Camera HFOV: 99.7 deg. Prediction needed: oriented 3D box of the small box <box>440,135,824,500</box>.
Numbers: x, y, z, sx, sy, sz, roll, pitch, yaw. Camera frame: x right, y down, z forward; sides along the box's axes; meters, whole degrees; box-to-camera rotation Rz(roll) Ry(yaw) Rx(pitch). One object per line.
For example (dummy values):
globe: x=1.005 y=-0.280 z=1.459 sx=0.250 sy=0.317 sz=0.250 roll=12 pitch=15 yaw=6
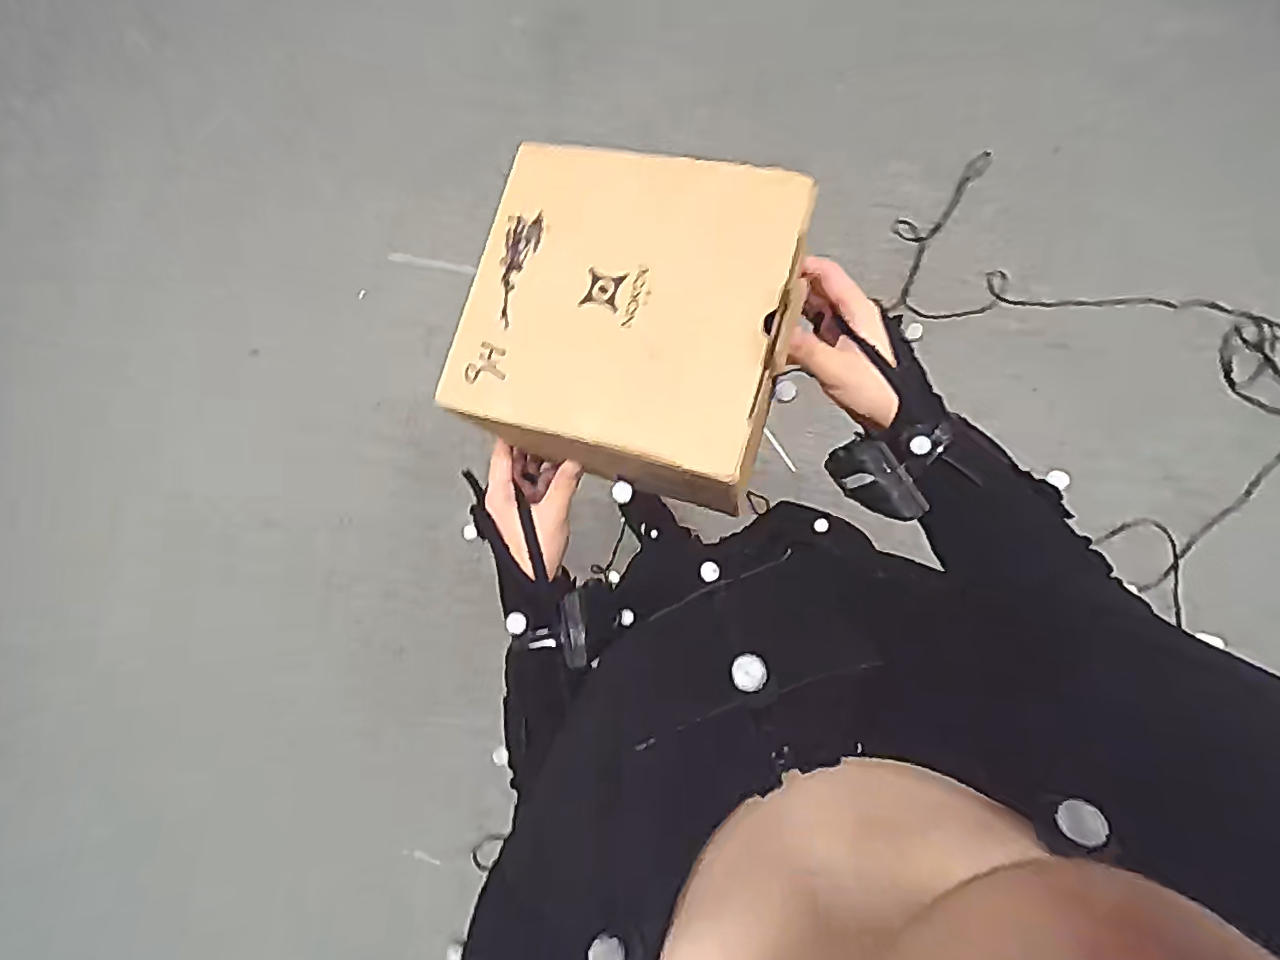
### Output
small box: x=0.005 y=-0.090 z=0.373 sx=0.179 sy=0.176 sz=0.168 roll=17 pitch=83 yaw=12
